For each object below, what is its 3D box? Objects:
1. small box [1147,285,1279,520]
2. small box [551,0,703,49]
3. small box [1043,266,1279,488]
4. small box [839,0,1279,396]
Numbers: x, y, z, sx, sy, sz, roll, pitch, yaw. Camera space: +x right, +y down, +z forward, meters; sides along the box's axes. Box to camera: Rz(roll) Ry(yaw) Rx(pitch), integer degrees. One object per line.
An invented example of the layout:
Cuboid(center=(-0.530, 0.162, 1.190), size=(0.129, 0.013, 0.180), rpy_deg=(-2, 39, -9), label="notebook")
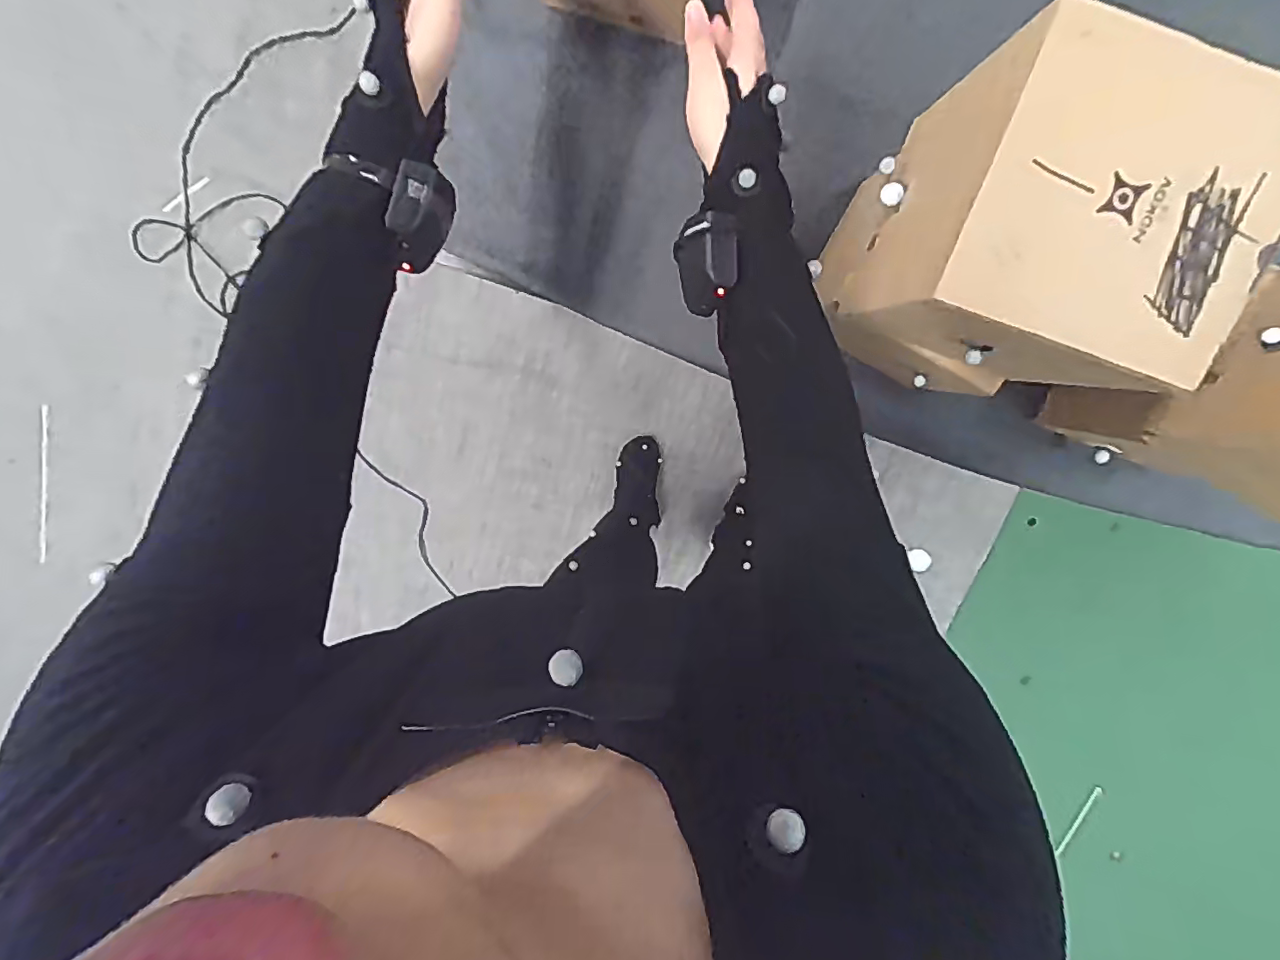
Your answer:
Cuboid(center=(0.570, -0.049, 0.410), size=(0.179, 0.176, 0.168), rpy_deg=(30, 102, -4), label="small box")
Cuboid(center=(-0.004, -0.536, 0.474), size=(0.168, 0.176, 0.179), rpy_deg=(15, 106, -3), label="small box")
Cuboid(center=(0.579, -0.098, 0.565), size=(0.168, 0.176, 0.179), rpy_deg=(19, 103, -2), label="small box")
Cuboid(center=(0.276, -0.171, 0.385), size=(0.179, 0.176, 0.168), rpy_deg=(19, 102, -3), label="small box")
